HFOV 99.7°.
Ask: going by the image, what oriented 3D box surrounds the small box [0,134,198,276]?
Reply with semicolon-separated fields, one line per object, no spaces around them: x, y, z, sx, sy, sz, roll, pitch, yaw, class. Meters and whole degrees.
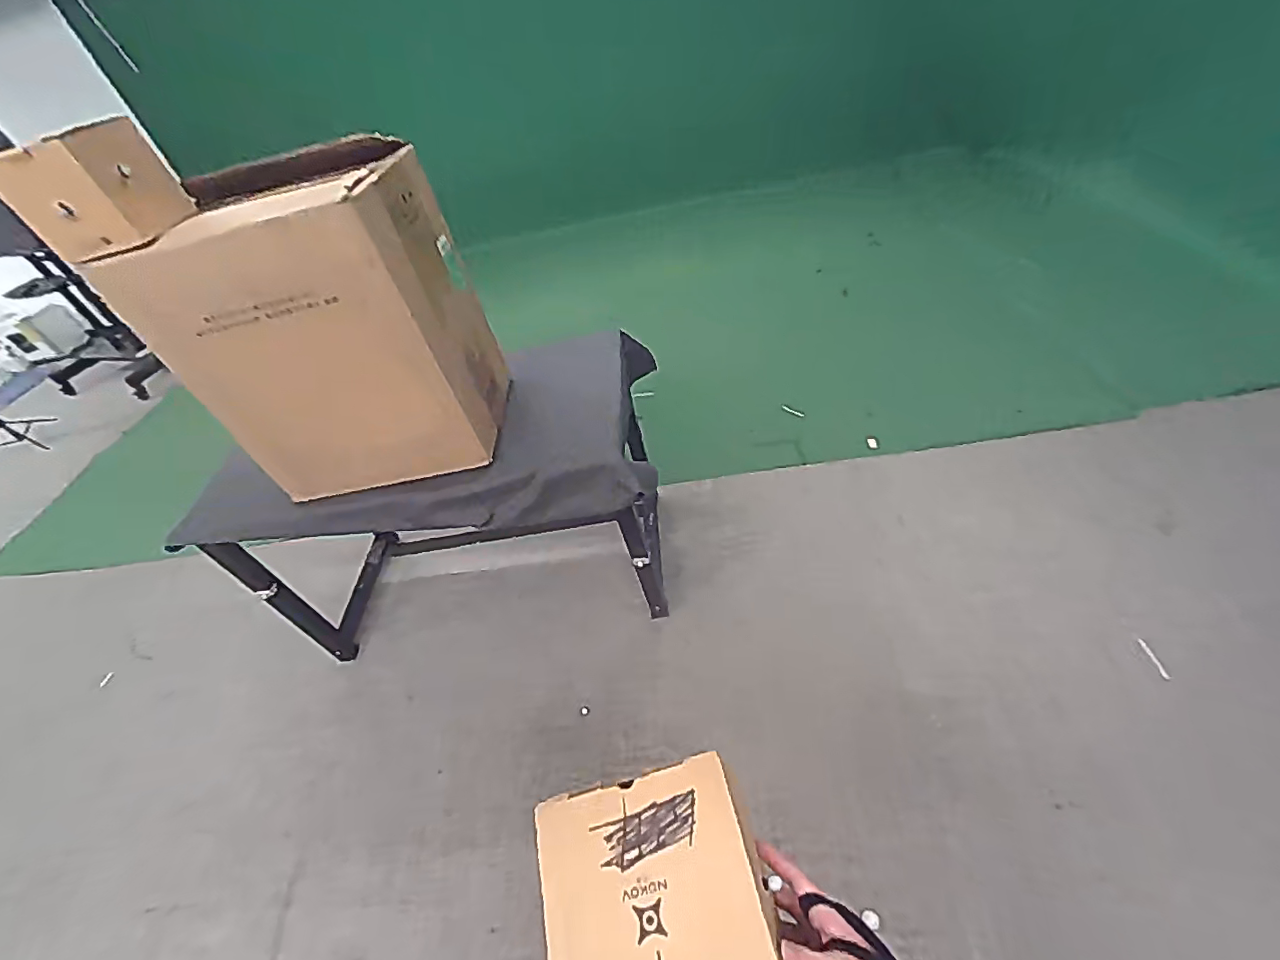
-0.962;-0.487;0.973;0.168;0.176;0.179;-12;44;7;small box
